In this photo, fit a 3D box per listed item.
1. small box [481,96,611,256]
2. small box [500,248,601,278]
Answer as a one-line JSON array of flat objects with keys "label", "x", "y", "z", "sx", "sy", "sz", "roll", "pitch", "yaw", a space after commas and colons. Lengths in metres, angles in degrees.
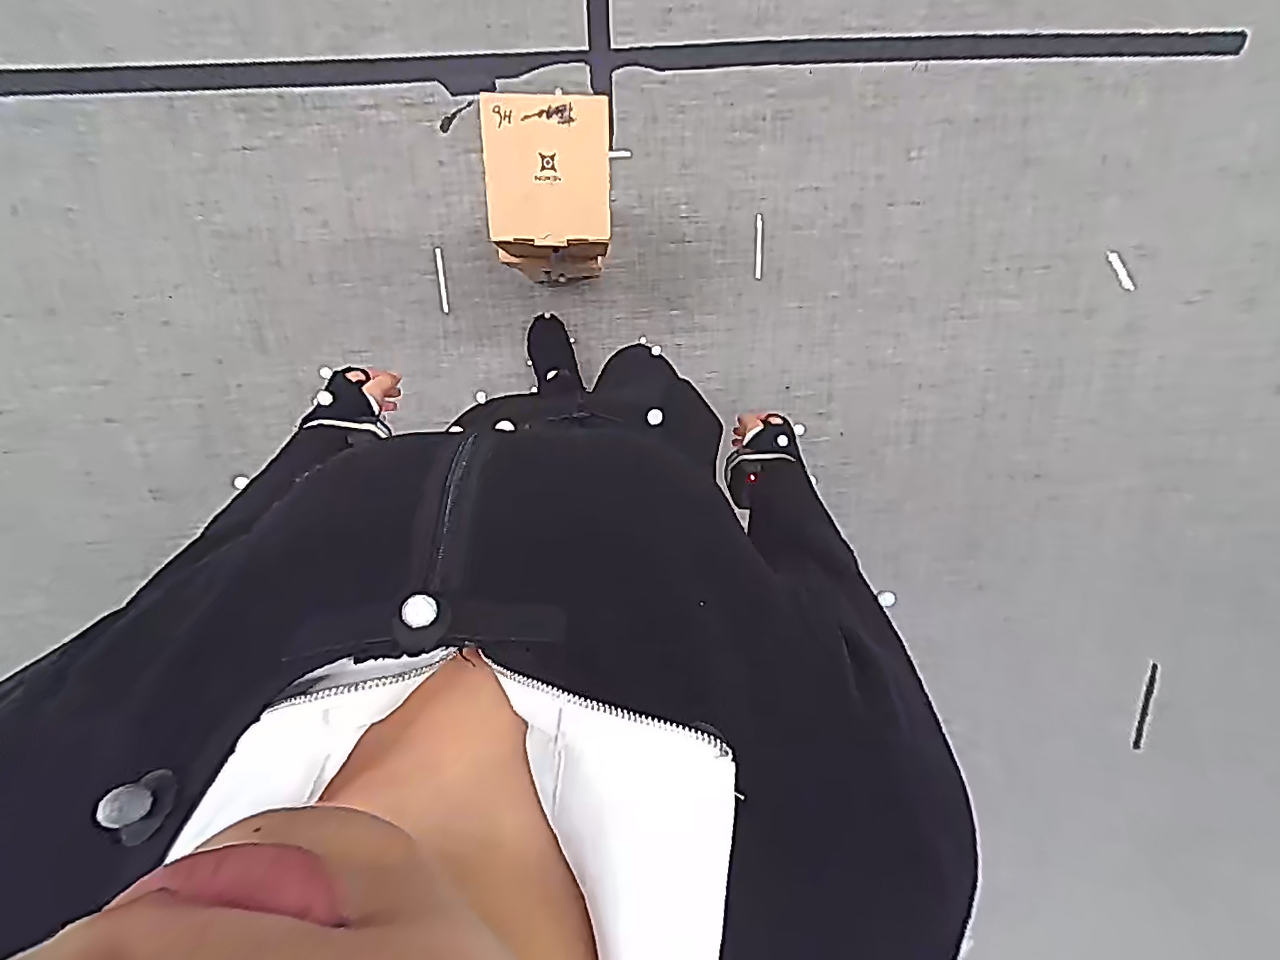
[{"label": "small box", "x": -0.126, "y": -0.425, "z": 0.785, "sx": 0.168, "sy": 0.176, "sz": 0.179, "roll": -1, "pitch": 107, "yaw": -4}, {"label": "small box", "x": -0.149, "y": -0.456, "z": 0.944, "sx": 0.168, "sy": 0.176, "sz": 0.179, "roll": 2, "pitch": 107, "yaw": -5}]
